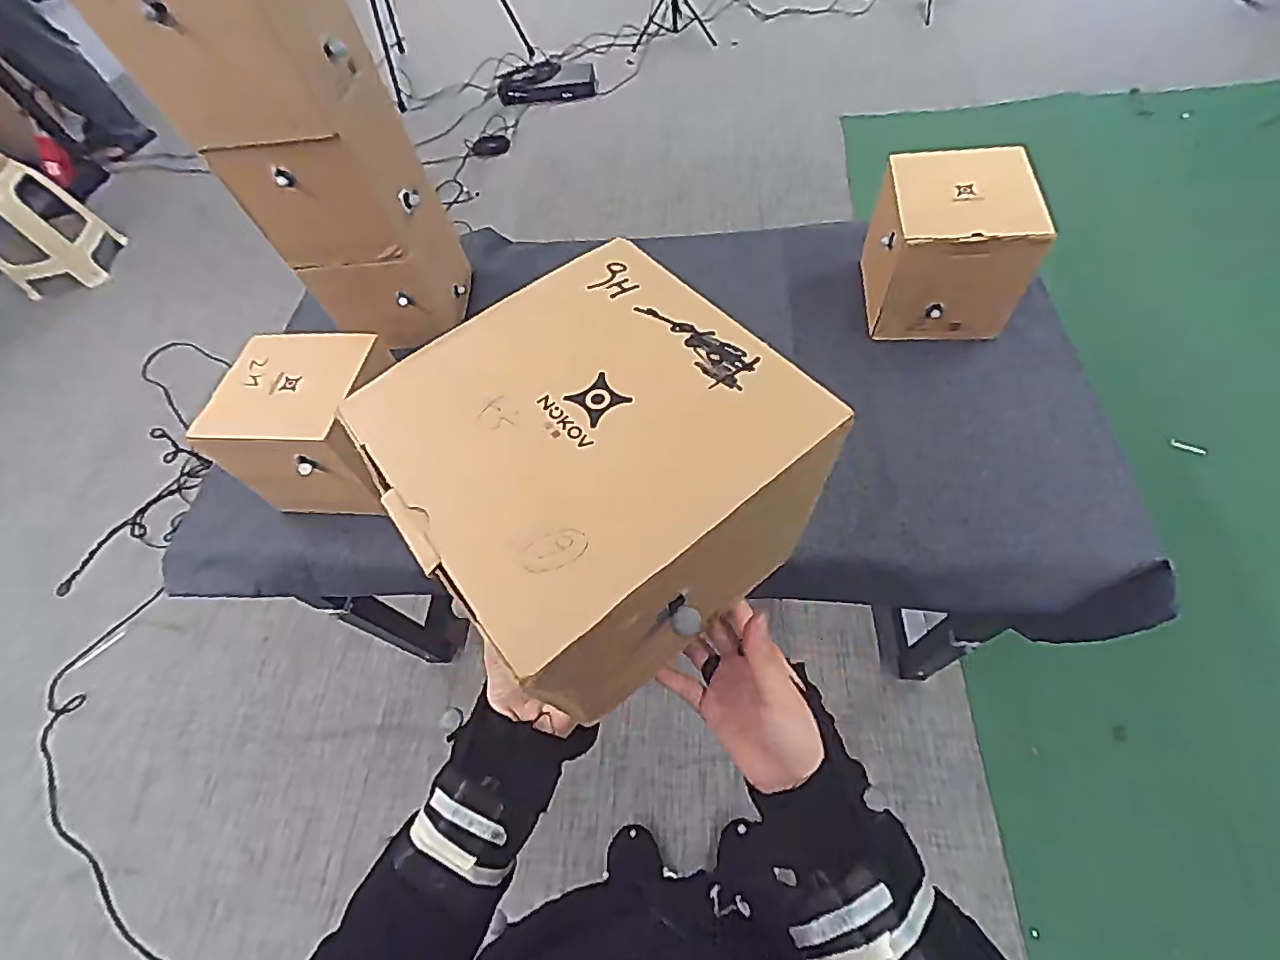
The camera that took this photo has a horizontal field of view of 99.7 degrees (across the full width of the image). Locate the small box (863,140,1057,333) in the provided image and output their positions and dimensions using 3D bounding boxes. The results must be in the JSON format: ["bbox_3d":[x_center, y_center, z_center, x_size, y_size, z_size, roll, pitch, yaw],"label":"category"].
[{"bbox_3d":[0.411,-0.324,0.733,0.168,0.176,0.179,2,62,9],"label":"small box"}]

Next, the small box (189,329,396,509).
[{"bbox_3d":[-0.400,-0.073,0.696,0.179,0.176,0.168,1,58,8],"label":"small box"}]

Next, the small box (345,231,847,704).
[{"bbox_3d":[-0.018,0.004,0.313,0.179,0.176,0.168,-38,65,-14],"label":"small box"}]

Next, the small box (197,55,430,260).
[{"bbox_3d":[-0.405,-0.410,0.707,0.179,0.176,0.168,-3,62,4],"label":"small box"}]

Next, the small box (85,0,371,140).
[{"bbox_3d":[-0.420,-0.481,0.559,0.179,0.176,0.168,-2,62,5],"label":"small box"}]
